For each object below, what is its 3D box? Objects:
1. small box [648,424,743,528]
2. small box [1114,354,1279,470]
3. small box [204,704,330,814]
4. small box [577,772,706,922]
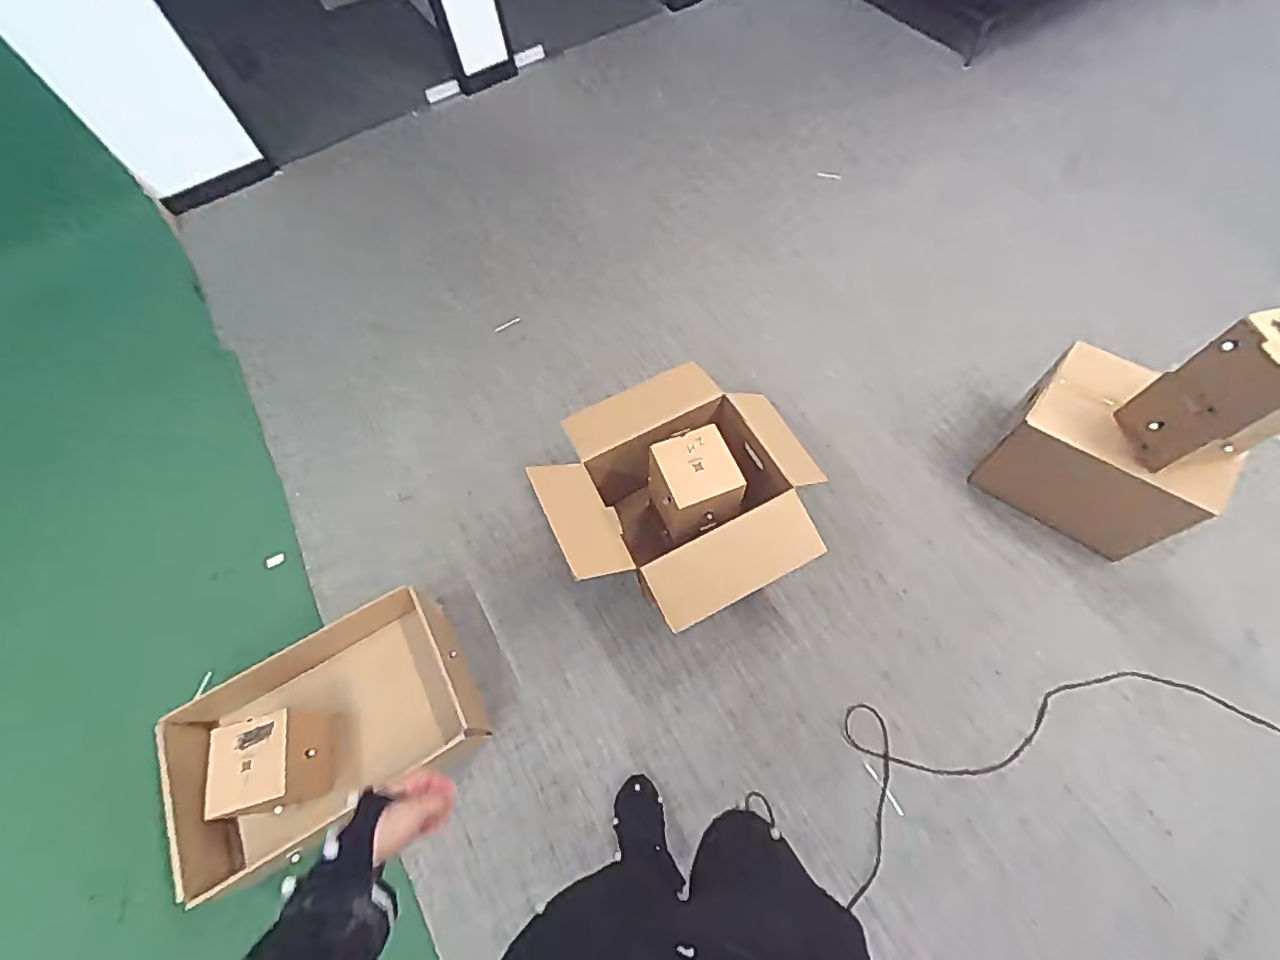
[{"bbox_3d":[0.127,0.000,1.296,0.168,0.176,0.179,-20,64,-9],"label":"small box"},{"bbox_3d":[1.175,-0.138,1.153,0.179,0.176,0.168,-12,64,1],"label":"small box"},{"bbox_3d":[-0.816,0.619,1.202,0.168,0.176,0.179,-15,62,-4],"label":"small box"},{"bbox_3d":[0.011,0.744,1.115,0.179,0.168,0.176,-40,96,-39],"label":"small box"}]
